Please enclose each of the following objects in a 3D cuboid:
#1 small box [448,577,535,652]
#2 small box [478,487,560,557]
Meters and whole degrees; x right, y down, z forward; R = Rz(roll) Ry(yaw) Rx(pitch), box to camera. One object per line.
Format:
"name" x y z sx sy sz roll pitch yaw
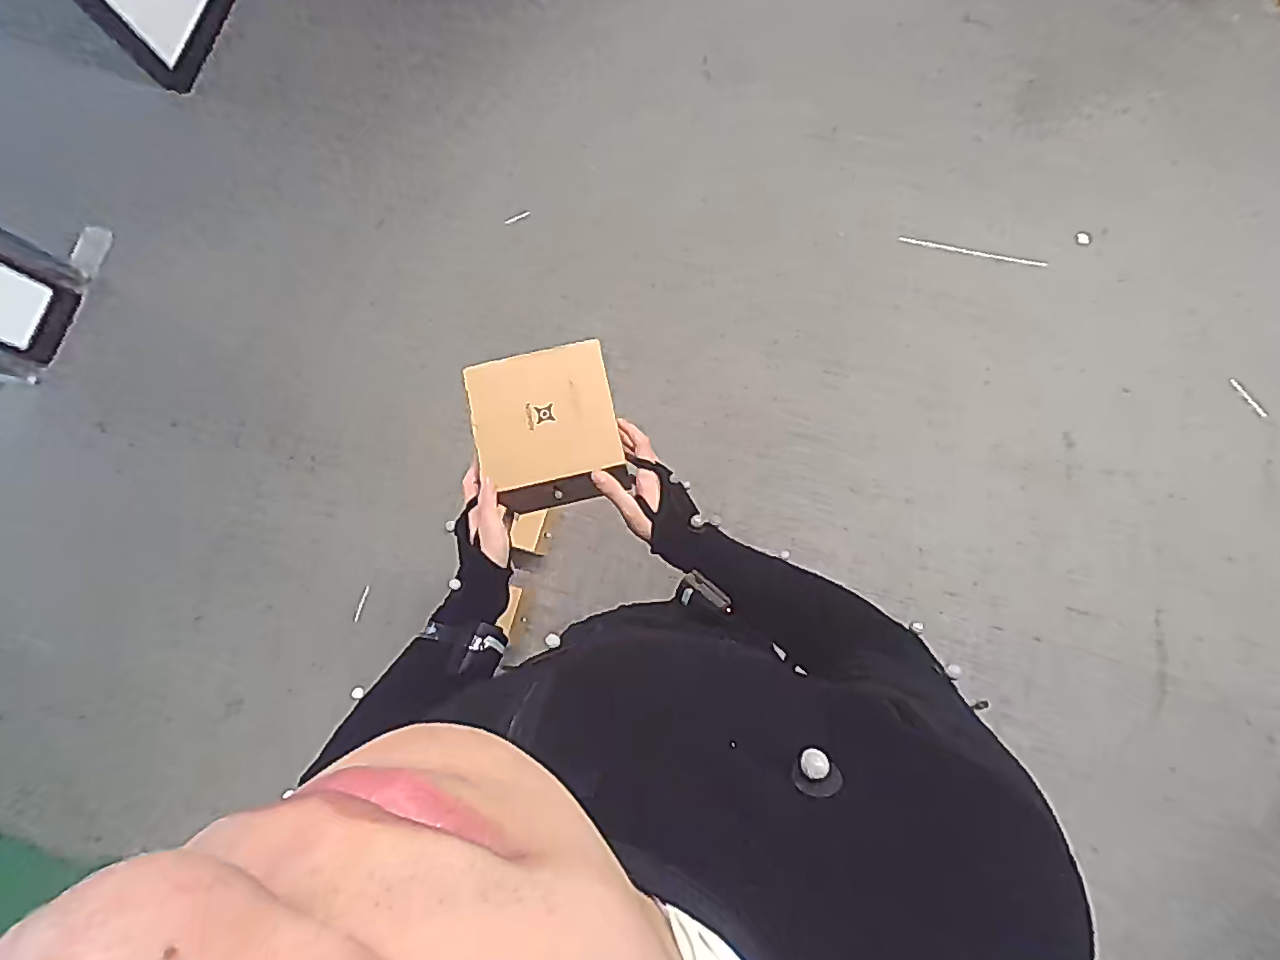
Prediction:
"small box" -0.420 0.385 1.565 0.179 0.176 0.168 14 79 7
"small box" -0.353 0.131 1.618 0.179 0.176 0.168 14 80 7
